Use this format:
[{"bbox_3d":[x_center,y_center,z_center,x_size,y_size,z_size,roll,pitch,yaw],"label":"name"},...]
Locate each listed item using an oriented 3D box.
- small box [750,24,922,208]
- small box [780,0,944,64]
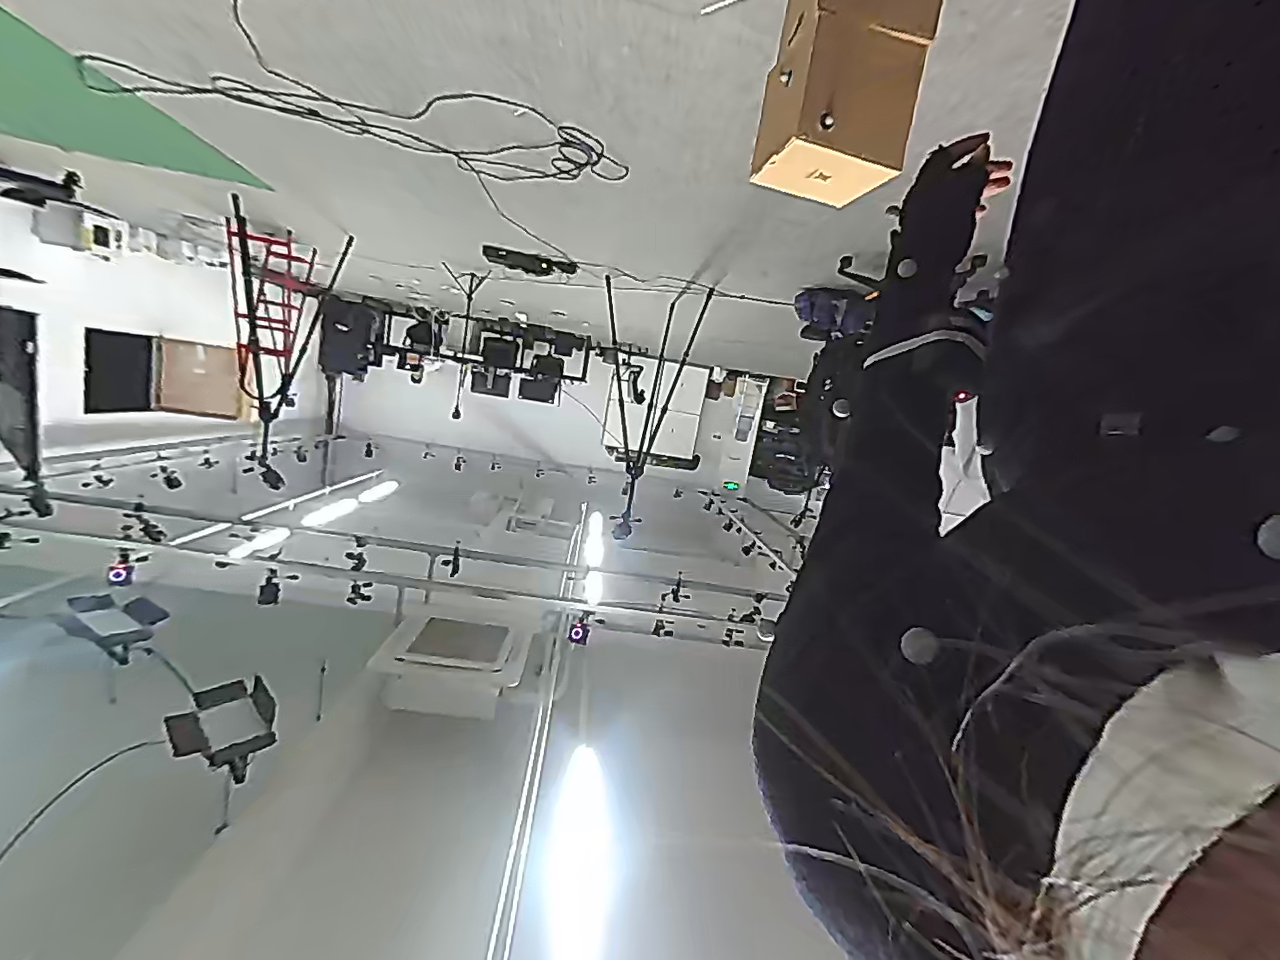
[{"bbox_3d":[0.298,-0.551,0.837,0.179,0.176,0.168,9,-172,-13],"label":"small box"},{"bbox_3d":[0.329,-0.708,0.806,0.179,0.176,0.168,8,-172,-8],"label":"small box"}]
